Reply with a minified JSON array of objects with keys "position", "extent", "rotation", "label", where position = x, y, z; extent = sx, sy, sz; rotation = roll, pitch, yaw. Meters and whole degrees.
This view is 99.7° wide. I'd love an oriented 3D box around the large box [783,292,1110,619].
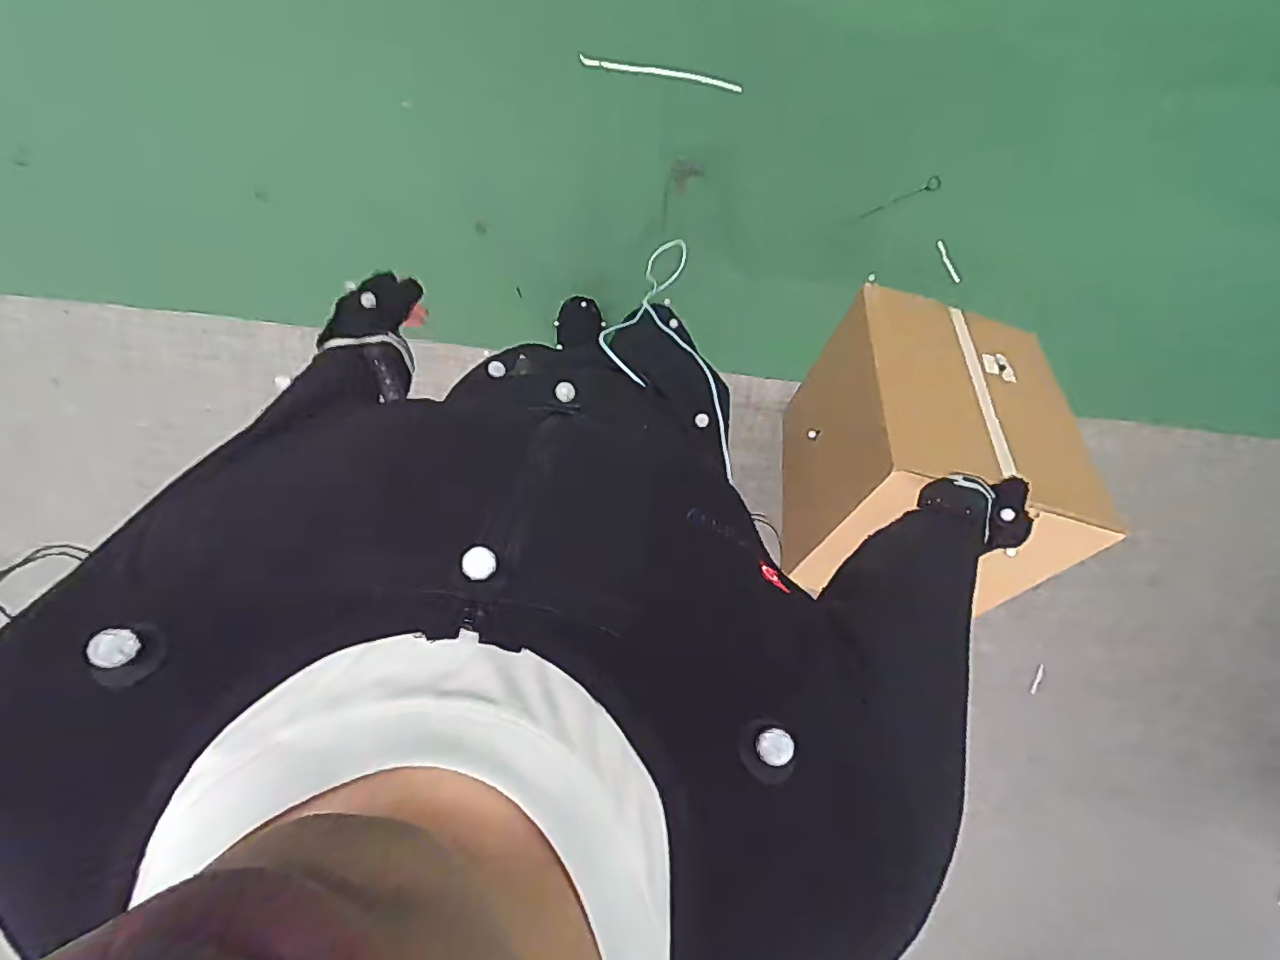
[{"position":[0.444,-0.036,0.904],"extent":[0.320,0.408,0.320],"rotation":[16,142,-5],"label":"large box"}]
